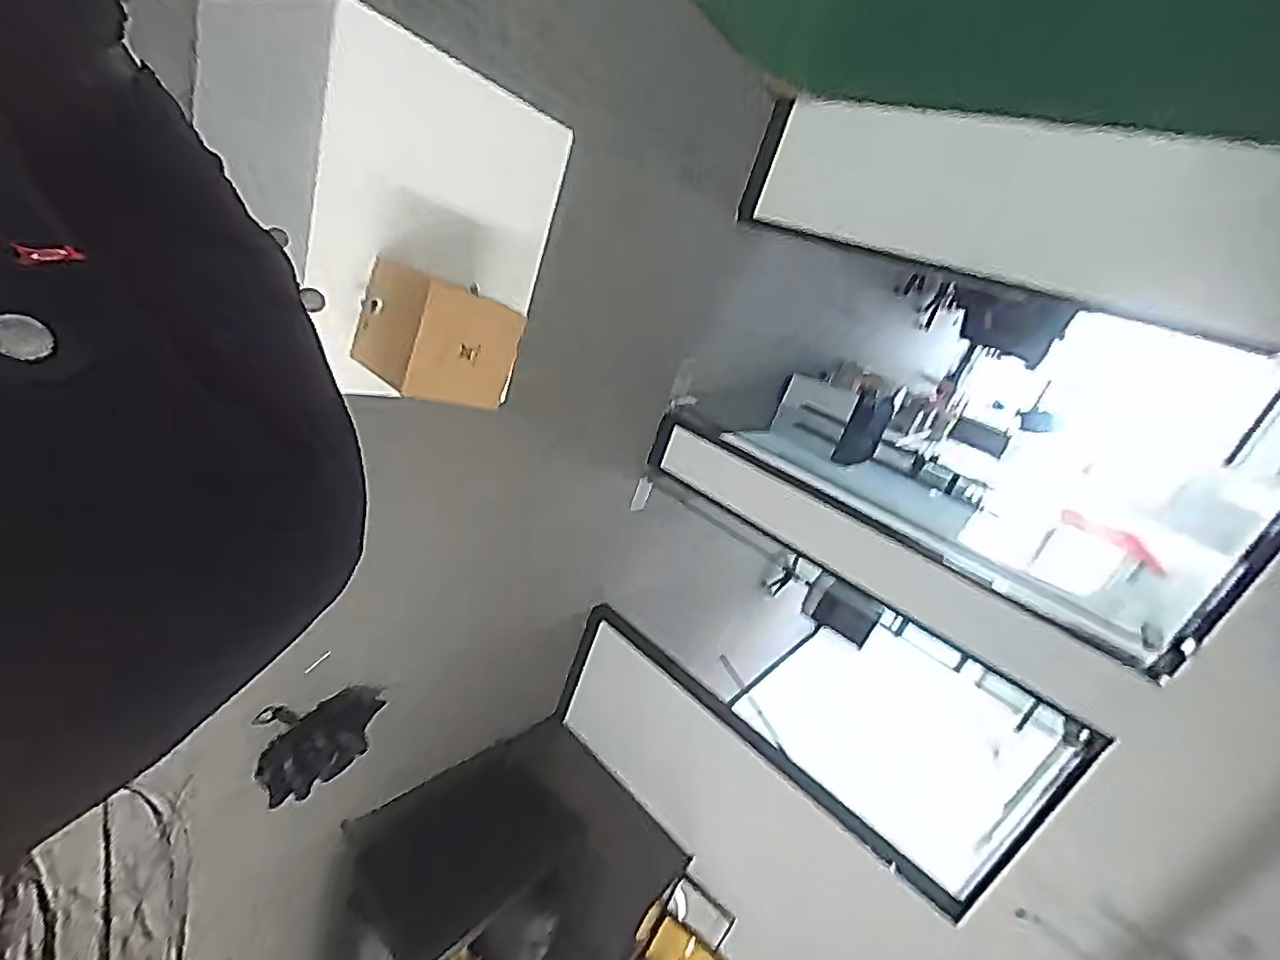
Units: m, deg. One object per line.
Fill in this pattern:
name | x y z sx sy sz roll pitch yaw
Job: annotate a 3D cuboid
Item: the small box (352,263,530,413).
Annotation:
small box | -0.309 -0.218 0.838 0.179 0.176 0.168 2 114 -54
